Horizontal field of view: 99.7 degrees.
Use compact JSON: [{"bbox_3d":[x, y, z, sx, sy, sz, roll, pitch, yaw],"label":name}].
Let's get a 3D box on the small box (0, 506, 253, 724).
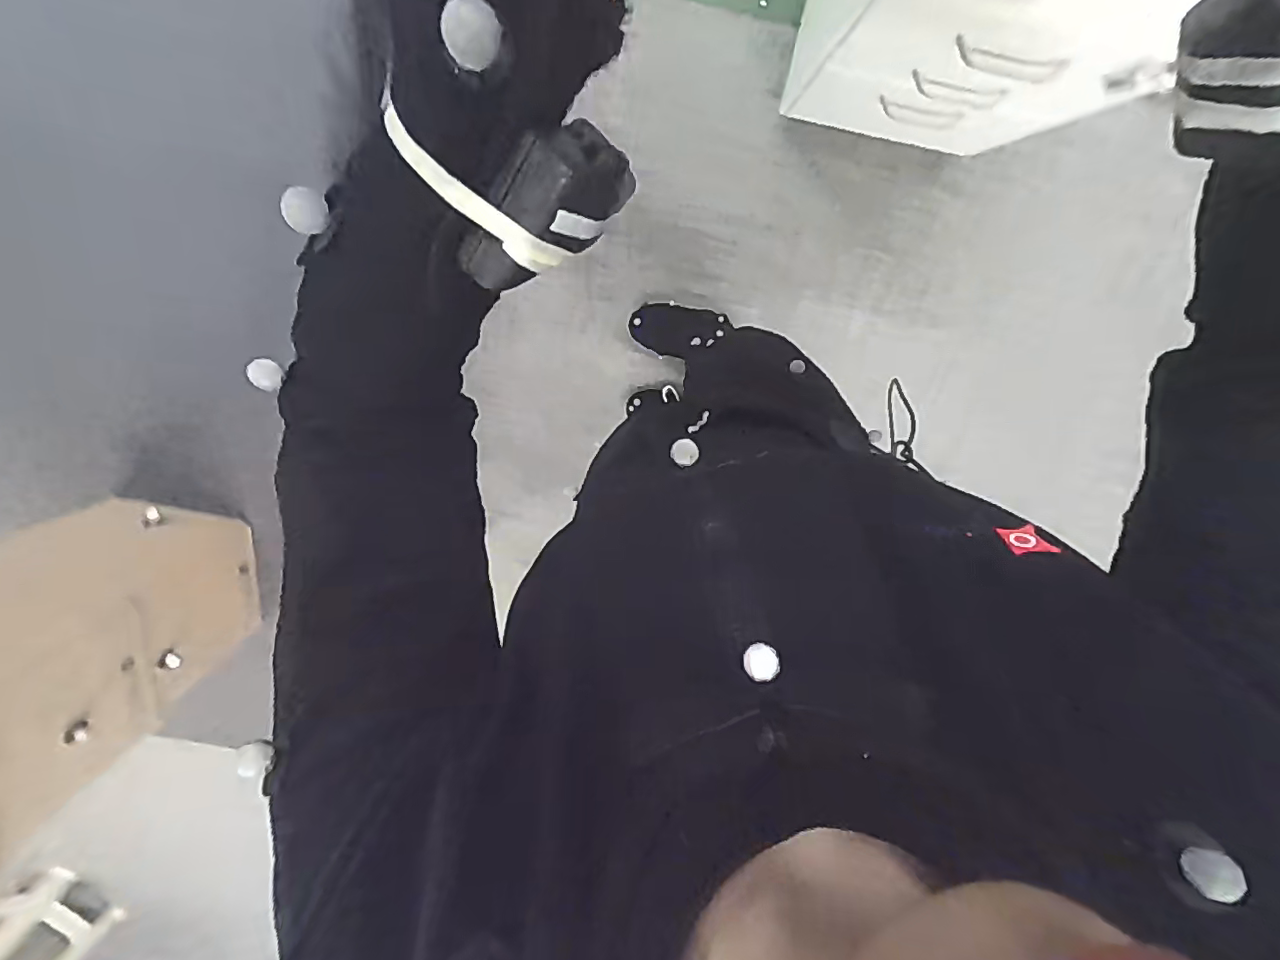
[{"bbox_3d":[-0.596,0.143,0.624,0.179,0.176,0.168,10,112,-1],"label":"small box"}]
